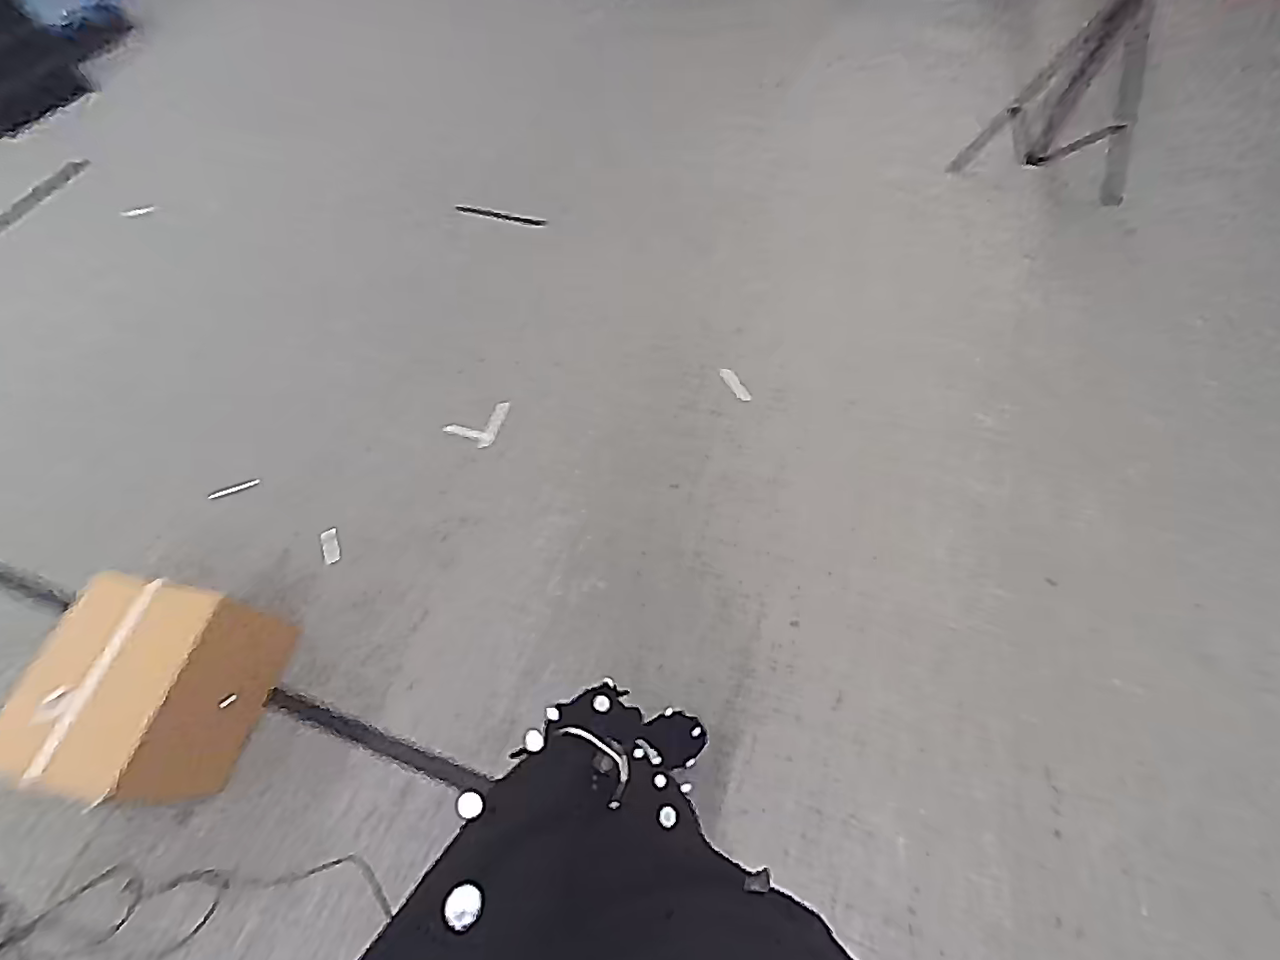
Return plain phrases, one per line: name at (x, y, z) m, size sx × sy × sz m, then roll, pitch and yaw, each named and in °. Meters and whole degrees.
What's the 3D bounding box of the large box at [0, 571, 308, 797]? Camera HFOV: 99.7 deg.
large box at (-1.076, 0.469, 1.255) m, size 0.320 × 0.320 × 0.408 m, roll 10°, pitch 63°, yaw 7°
